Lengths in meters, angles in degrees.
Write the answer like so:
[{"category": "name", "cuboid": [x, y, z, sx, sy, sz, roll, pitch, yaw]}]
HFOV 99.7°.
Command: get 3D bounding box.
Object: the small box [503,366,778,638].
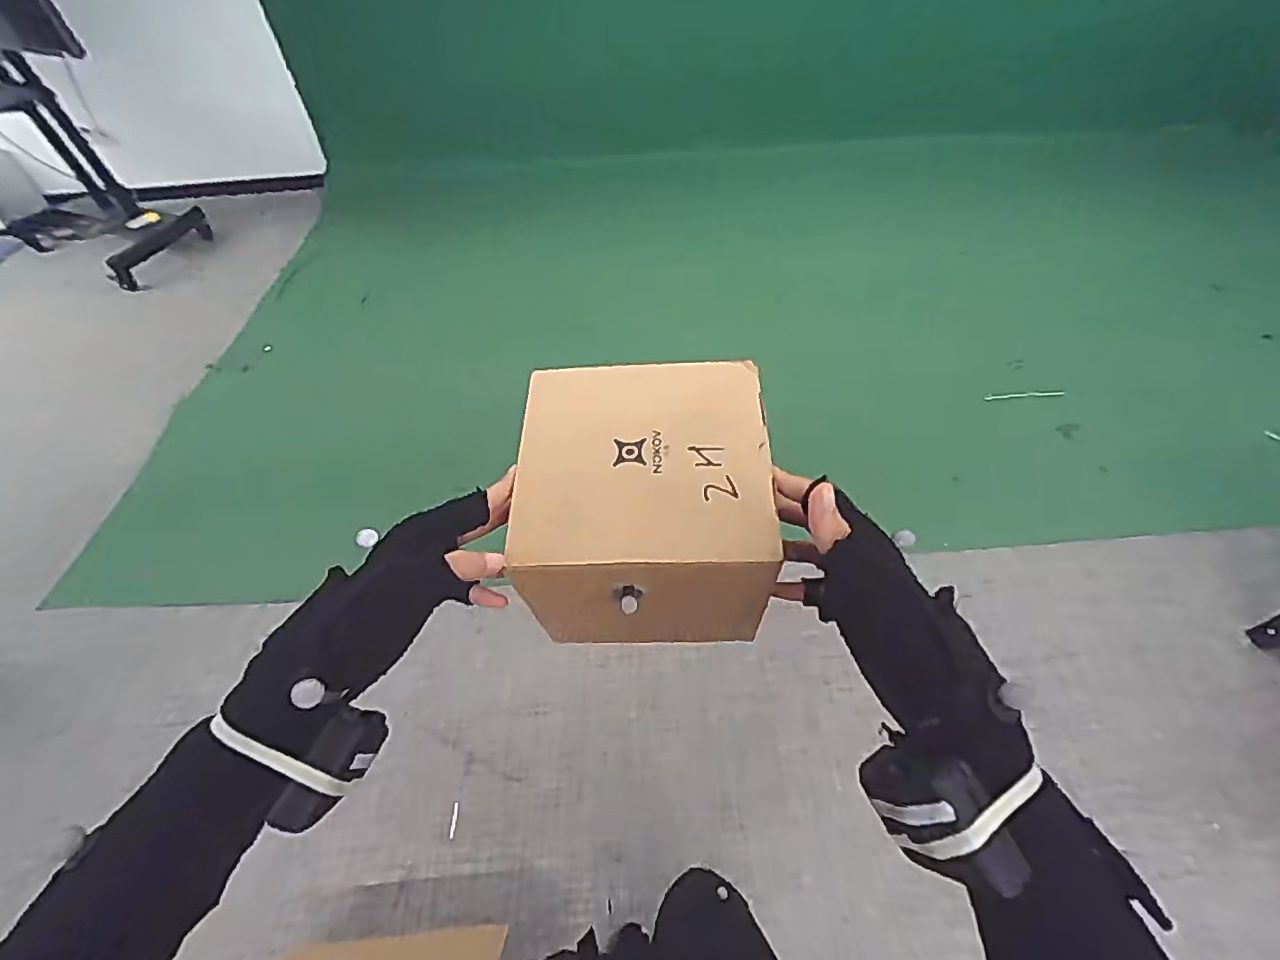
[{"category": "small box", "cuboid": [0.006, 0.026, 0.444, 0.179, 0.176, 0.168, -1, 58, 3]}]
